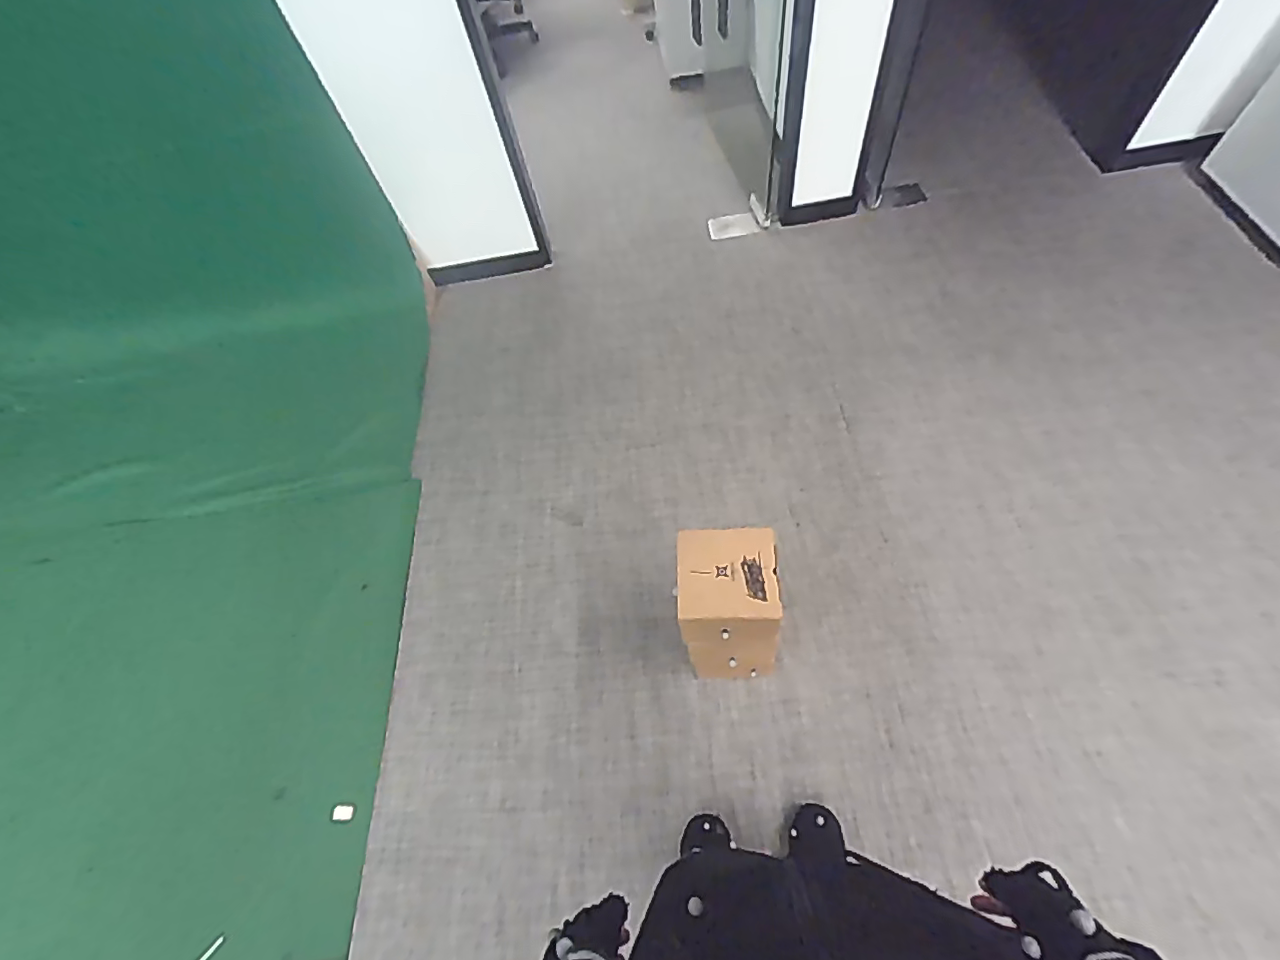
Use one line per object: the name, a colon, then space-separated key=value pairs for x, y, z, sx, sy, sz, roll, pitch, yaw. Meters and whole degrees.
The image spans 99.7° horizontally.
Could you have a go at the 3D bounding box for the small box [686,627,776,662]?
small box: x=0.185 y=0.287 z=1.153 sx=0.179 sy=0.176 sz=0.168 roll=-3 pitch=59 yaw=6

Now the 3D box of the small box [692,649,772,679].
small box: x=0.210 y=0.372 z=1.291 sx=0.179 sy=0.176 sz=0.168 roll=-6 pitch=58 yaw=7

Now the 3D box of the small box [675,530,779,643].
small box: x=0.160 y=0.203 z=1.014 sx=0.179 sy=0.176 sz=0.168 roll=-2 pitch=59 yaw=9
